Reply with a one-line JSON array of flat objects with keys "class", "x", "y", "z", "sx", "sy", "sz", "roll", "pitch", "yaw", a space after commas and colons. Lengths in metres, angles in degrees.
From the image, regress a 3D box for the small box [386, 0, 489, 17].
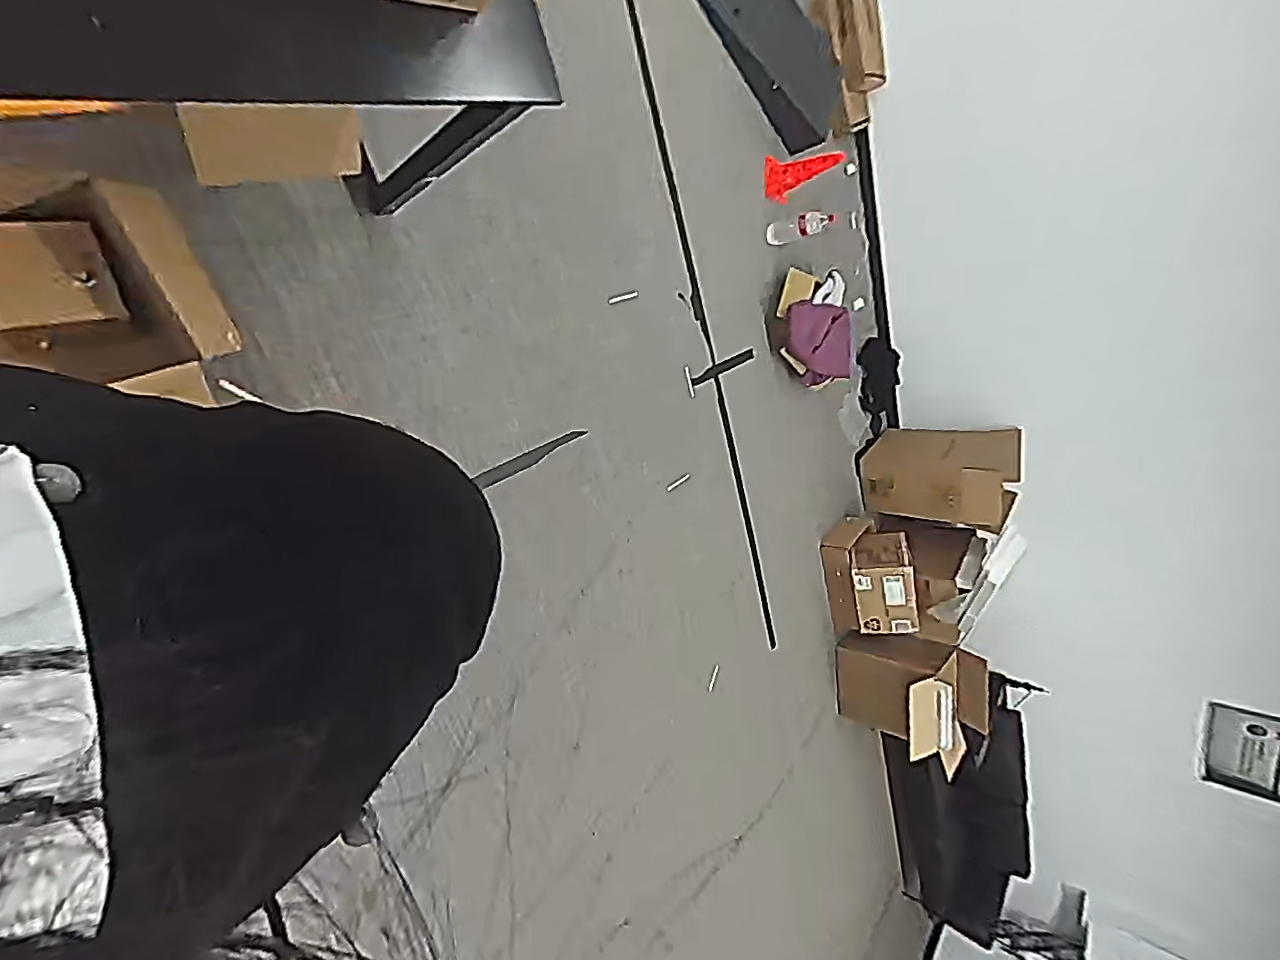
[{"class": "small box", "x": -0.269, "y": -0.754, "z": 0.695, "sx": 0.168, "sy": 0.176, "sz": 0.179, "roll": -31, "pitch": 114, "yaw": -39}]
